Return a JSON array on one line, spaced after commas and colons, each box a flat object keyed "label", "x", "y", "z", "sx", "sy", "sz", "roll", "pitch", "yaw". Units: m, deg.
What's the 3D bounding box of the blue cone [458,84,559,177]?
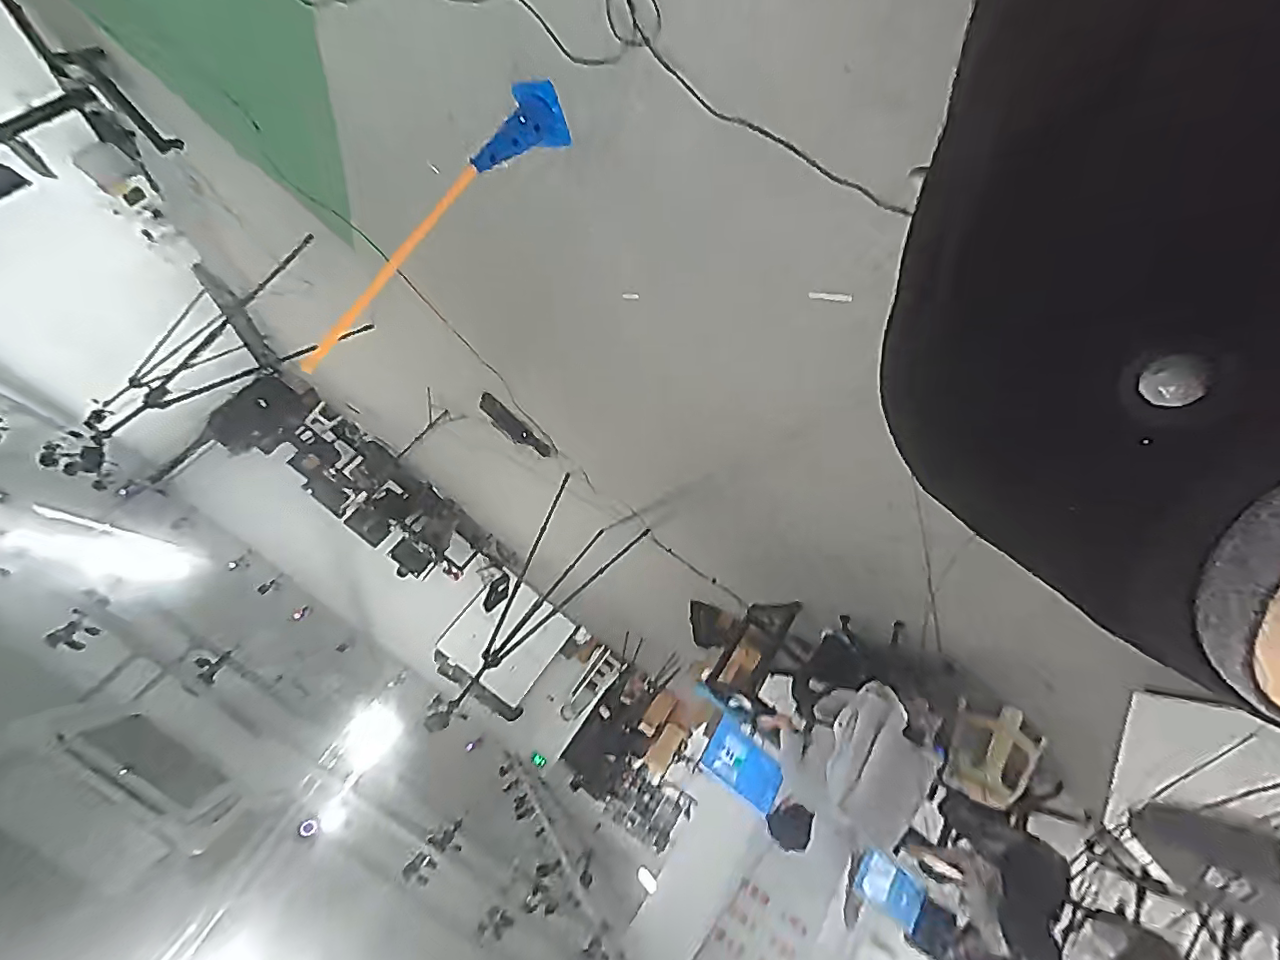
[{"label": "blue cone", "x": -0.453, "y": -1.110, "z": 1.772, "sx": 0.192, "sy": 0.380, "sz": 0.193, "roll": 20, "pitch": 153, "yaw": 33}]
